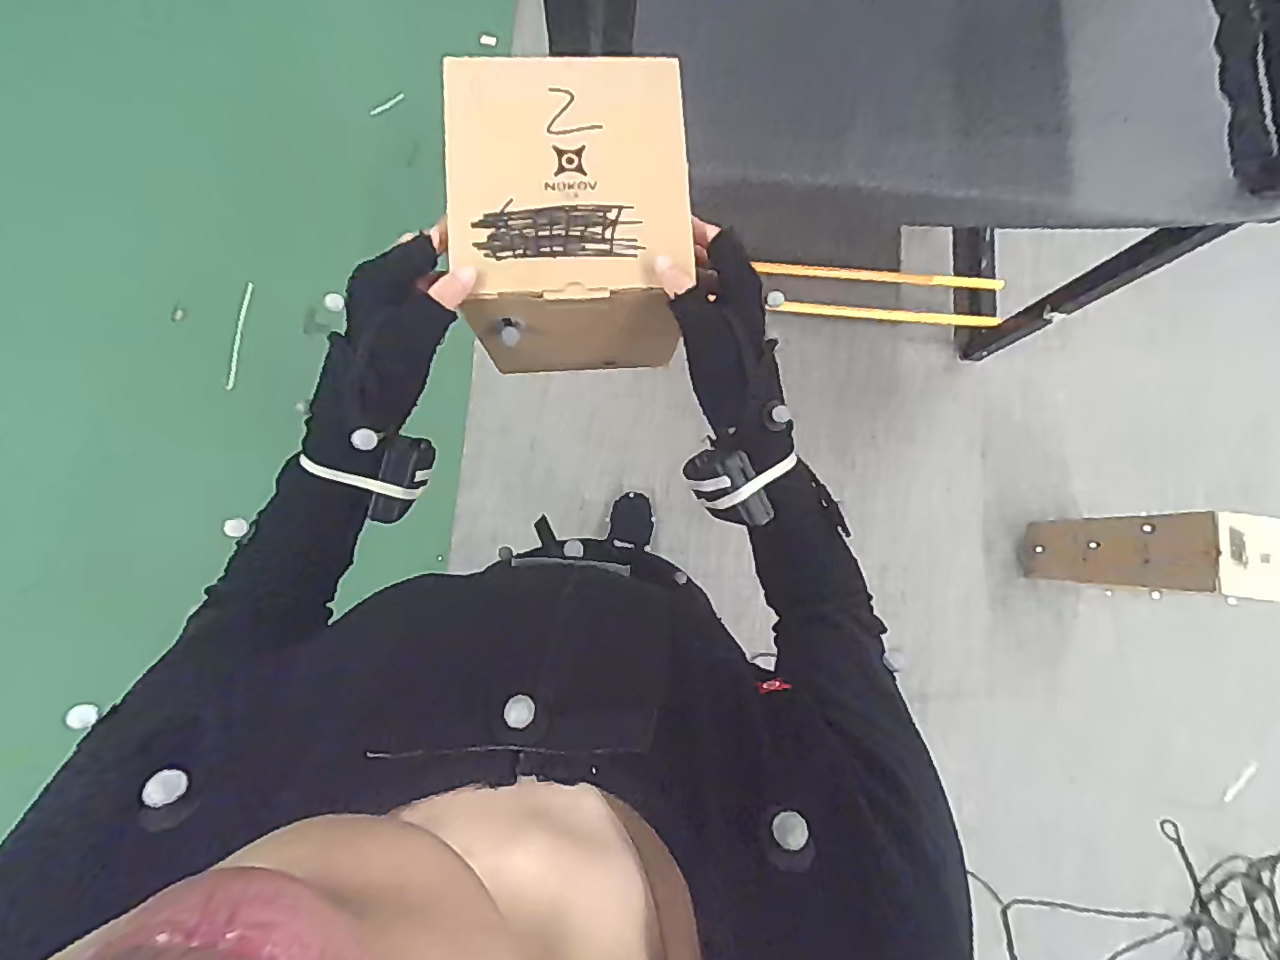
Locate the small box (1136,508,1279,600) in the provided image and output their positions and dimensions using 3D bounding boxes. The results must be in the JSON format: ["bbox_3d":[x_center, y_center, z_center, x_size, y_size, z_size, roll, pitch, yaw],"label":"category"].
[{"bbox_3d":[1.203,0.156,1.141,0.179,0.176,0.168,8,83,-2],"label":"small box"}]

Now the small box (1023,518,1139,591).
[{"bbox_3d":[1.188,0.199,1.464,0.179,0.176,0.168,10,82,-1],"label":"small box"}]
